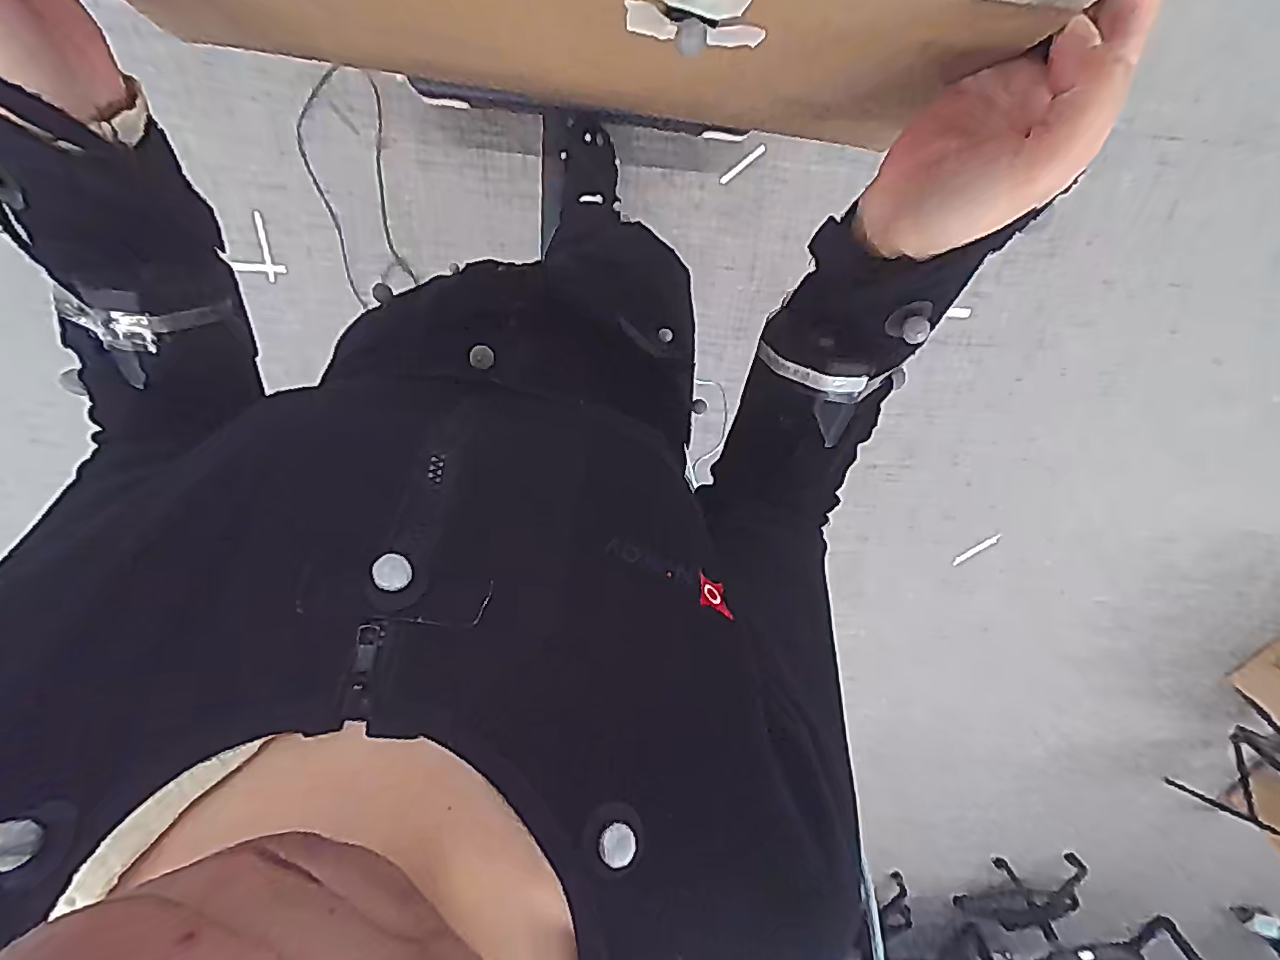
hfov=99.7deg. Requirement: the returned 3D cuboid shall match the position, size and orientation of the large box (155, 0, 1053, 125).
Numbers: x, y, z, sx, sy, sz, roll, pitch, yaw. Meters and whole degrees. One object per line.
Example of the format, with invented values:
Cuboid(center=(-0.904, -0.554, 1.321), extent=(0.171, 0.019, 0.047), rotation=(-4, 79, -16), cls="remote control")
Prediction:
Cuboid(center=(-0.024, -0.342, 0.132), extent=(0.408, 0.320, 0.320), rotation=(5, 104, -5), cls="large box")
